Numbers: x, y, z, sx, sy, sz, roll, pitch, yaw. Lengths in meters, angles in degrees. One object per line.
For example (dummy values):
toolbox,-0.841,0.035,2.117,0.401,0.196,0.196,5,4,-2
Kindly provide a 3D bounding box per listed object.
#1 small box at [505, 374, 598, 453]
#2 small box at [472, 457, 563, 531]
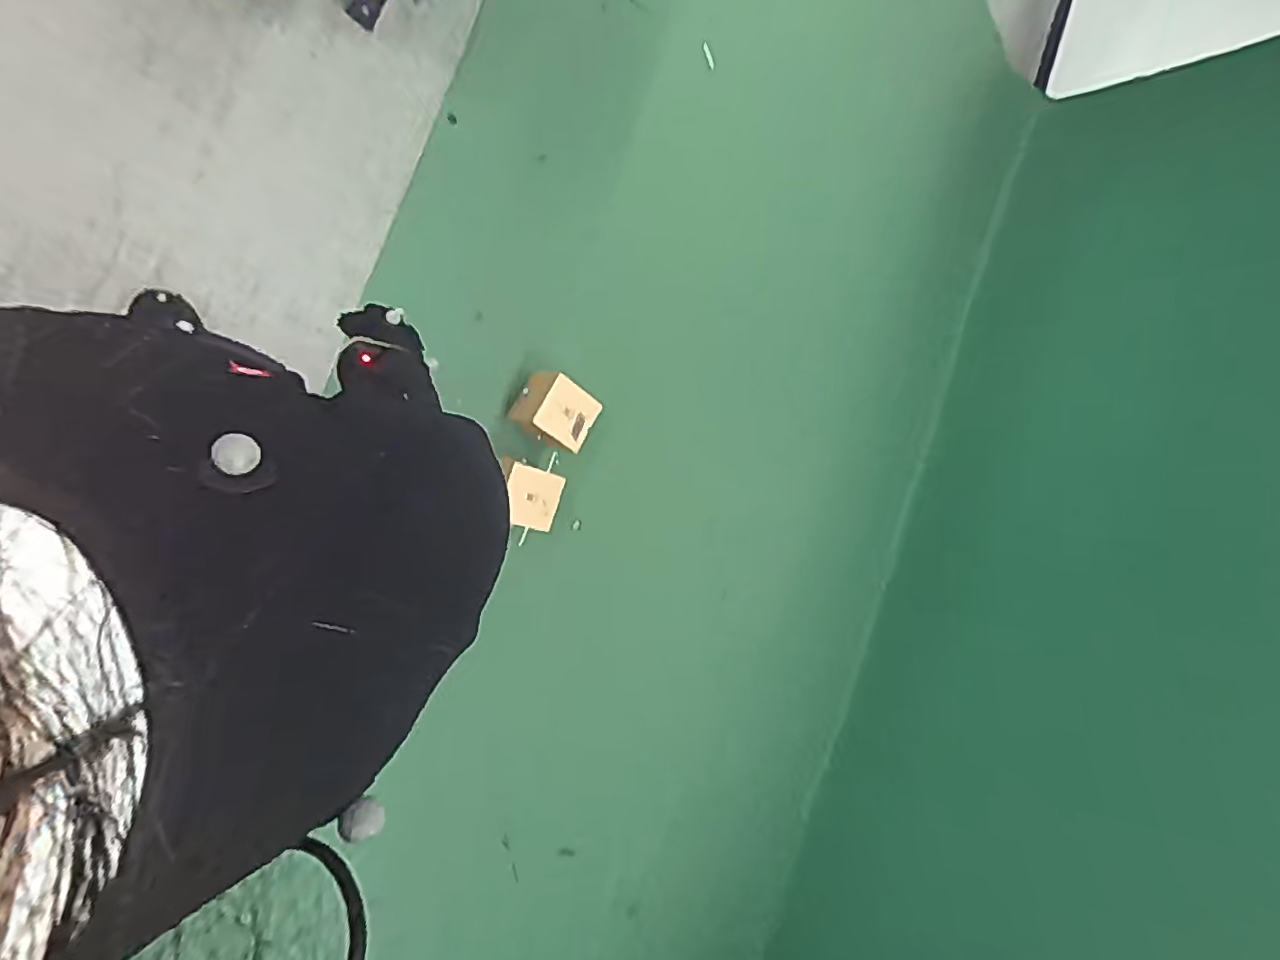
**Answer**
small box,-0.264,-0.202,1.599,0.179,0.176,0.168,36,75,-38
small box,-0.359,0.036,1.566,0.179,0.176,0.168,20,87,-41
